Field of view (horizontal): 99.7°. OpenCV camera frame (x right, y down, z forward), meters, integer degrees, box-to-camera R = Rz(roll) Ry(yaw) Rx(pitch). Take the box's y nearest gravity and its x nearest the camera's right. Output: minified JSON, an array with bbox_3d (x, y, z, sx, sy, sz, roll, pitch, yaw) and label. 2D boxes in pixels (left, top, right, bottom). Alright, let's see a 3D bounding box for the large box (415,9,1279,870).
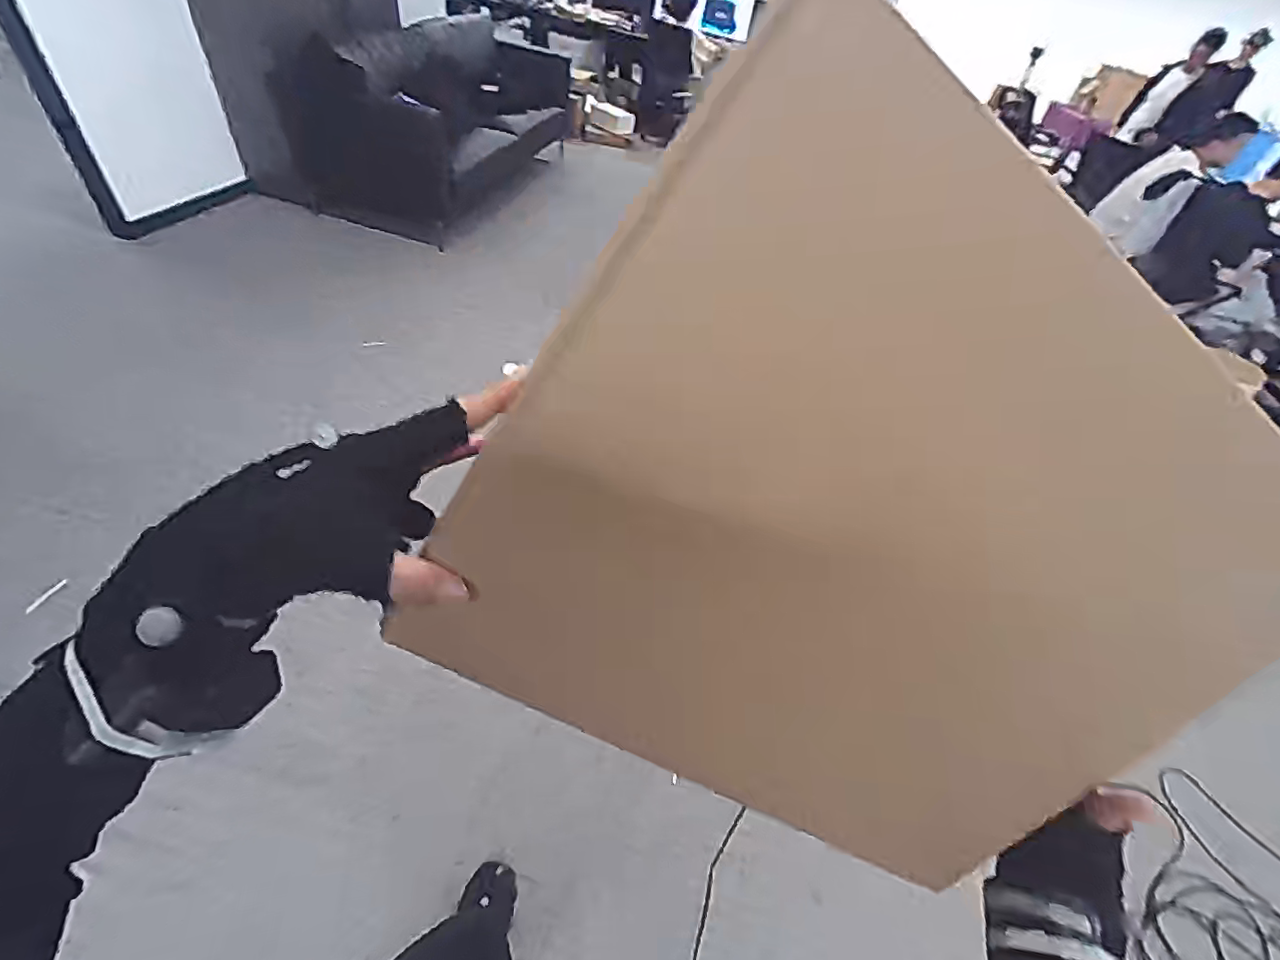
[{"bbox_3d":[0.122,0.002,0.406,0.408,0.320,0.320,34,21,-17],"label":"large box"}]
